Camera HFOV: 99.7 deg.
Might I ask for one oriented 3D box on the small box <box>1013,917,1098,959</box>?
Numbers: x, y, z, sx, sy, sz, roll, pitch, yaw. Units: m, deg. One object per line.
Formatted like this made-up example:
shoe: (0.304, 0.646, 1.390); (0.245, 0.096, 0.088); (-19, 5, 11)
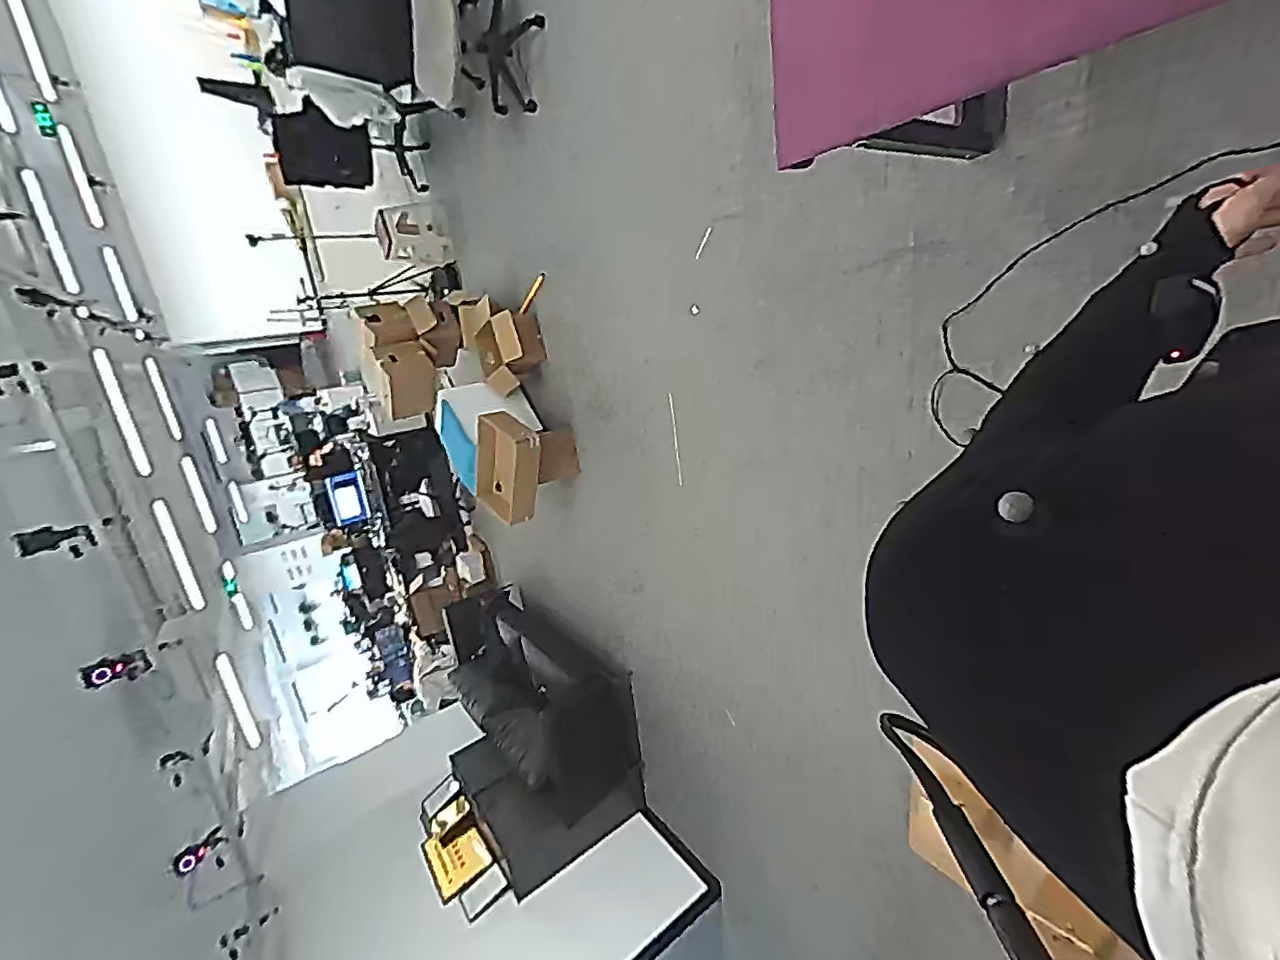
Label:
small box: (1.184, 1.409, 1.530); (0.168, 0.176, 0.179); (10, 114, 56)

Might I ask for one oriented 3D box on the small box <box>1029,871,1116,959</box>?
small box: (1.304, 1.347, 1.629); (0.168, 0.176, 0.179); (7, 112, 55)

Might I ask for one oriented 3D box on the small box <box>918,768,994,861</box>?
small box: (1.084, 1.135, 1.850); (0.168, 0.176, 0.179); (21, 124, 50)
